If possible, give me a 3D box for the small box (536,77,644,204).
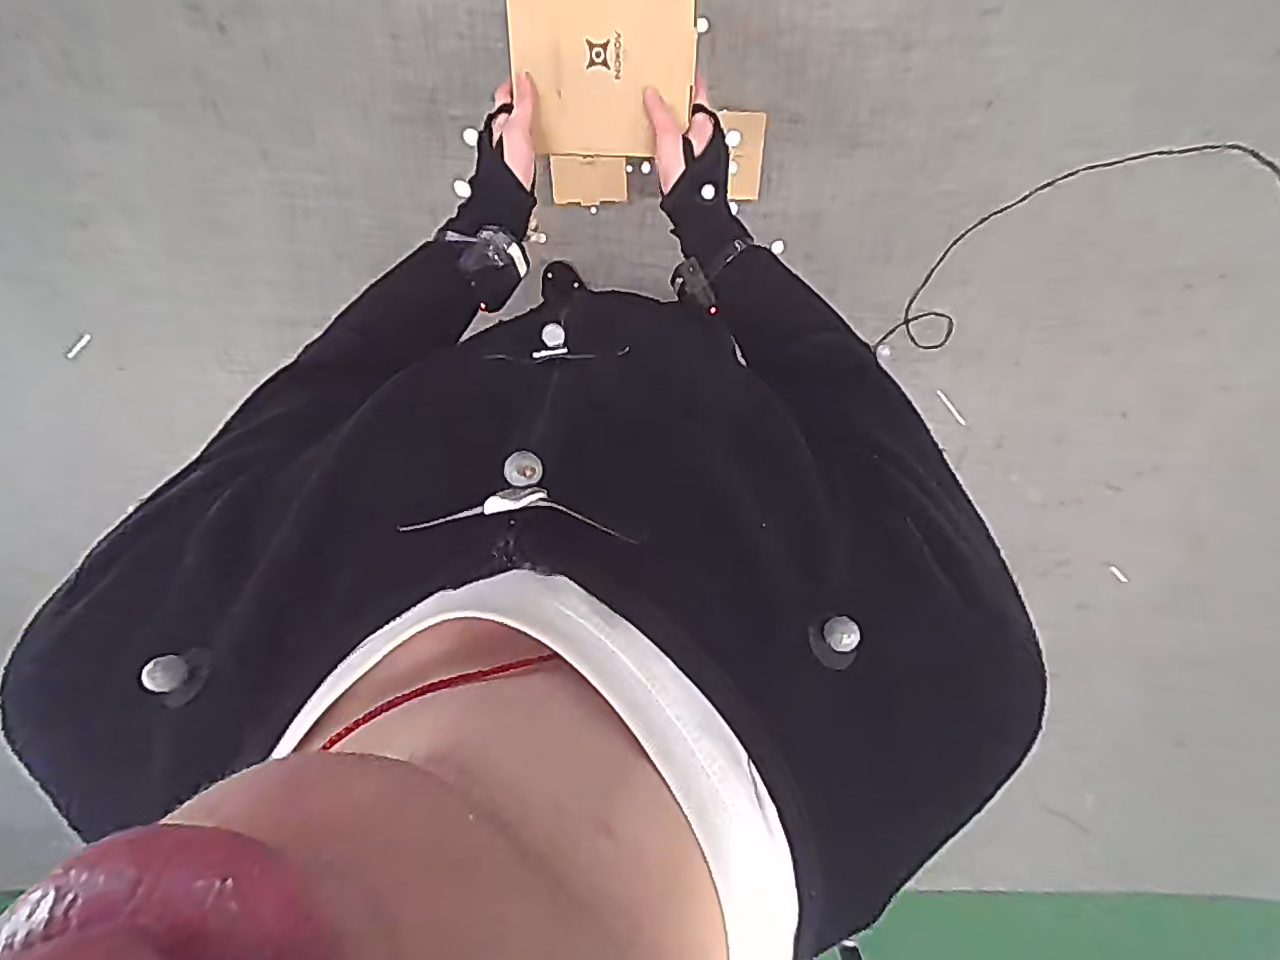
[{"bbox_3d":[-0.104,-0.752,1.223,0.179,0.176,0.168,-28,108,14],"label":"small box"}]

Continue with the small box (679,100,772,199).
[{"bbox_3d":[0.184,-0.741,1.230,0.179,0.176,0.168,6,115,-1],"label":"small box"}]
